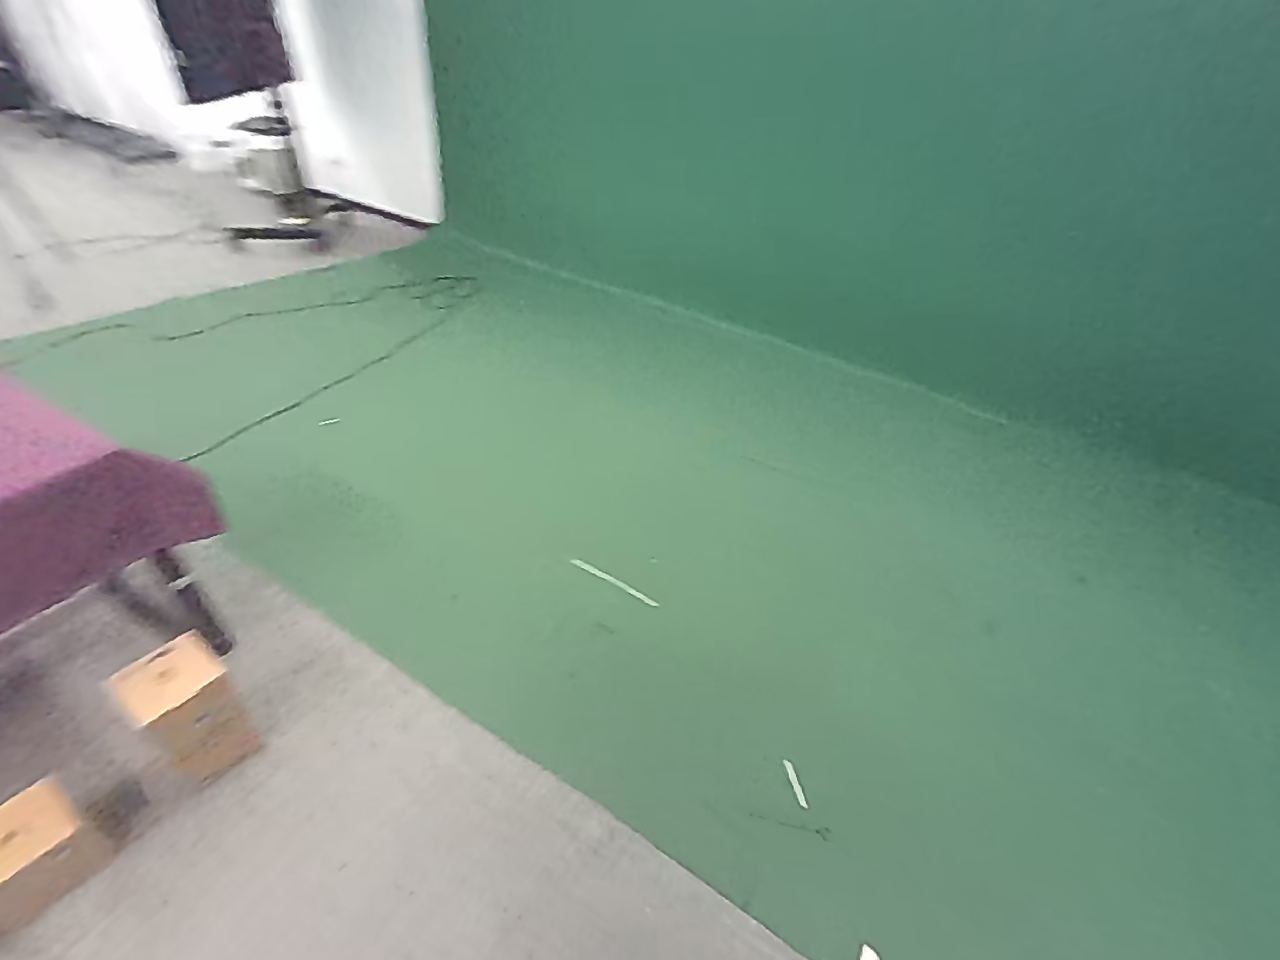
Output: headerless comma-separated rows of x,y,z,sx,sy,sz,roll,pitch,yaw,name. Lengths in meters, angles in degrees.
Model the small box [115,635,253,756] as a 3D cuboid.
-1.043,0.503,1.251,0.179,0.176,0.168,29,43,23,small box
